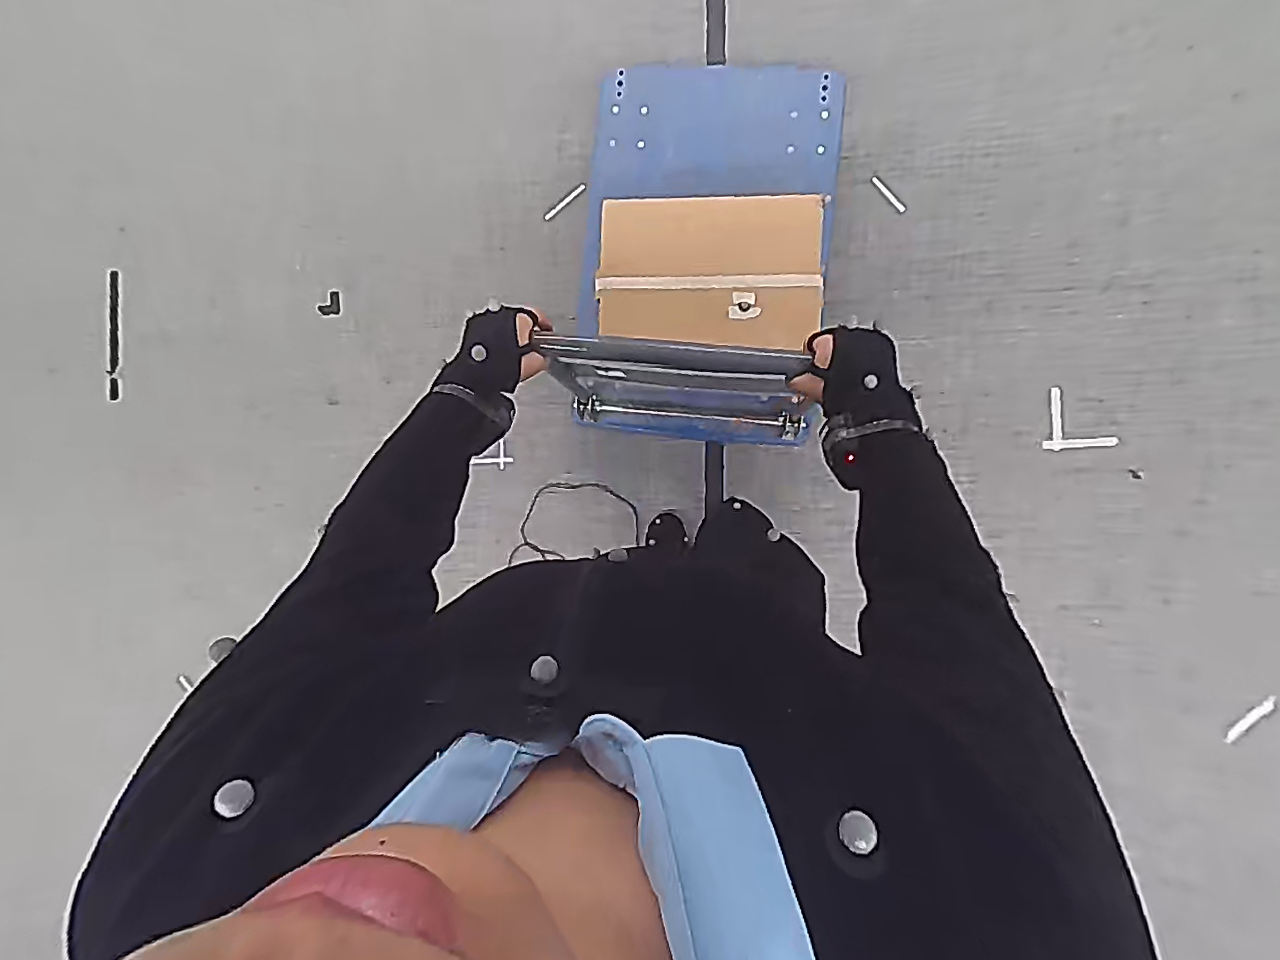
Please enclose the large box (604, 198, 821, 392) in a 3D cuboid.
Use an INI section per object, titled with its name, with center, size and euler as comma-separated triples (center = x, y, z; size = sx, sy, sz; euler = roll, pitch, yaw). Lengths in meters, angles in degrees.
[large box]
center = 0.142, -0.364, 1.149
size = 0.408, 0.320, 0.320
euler = 1, 92, 5
